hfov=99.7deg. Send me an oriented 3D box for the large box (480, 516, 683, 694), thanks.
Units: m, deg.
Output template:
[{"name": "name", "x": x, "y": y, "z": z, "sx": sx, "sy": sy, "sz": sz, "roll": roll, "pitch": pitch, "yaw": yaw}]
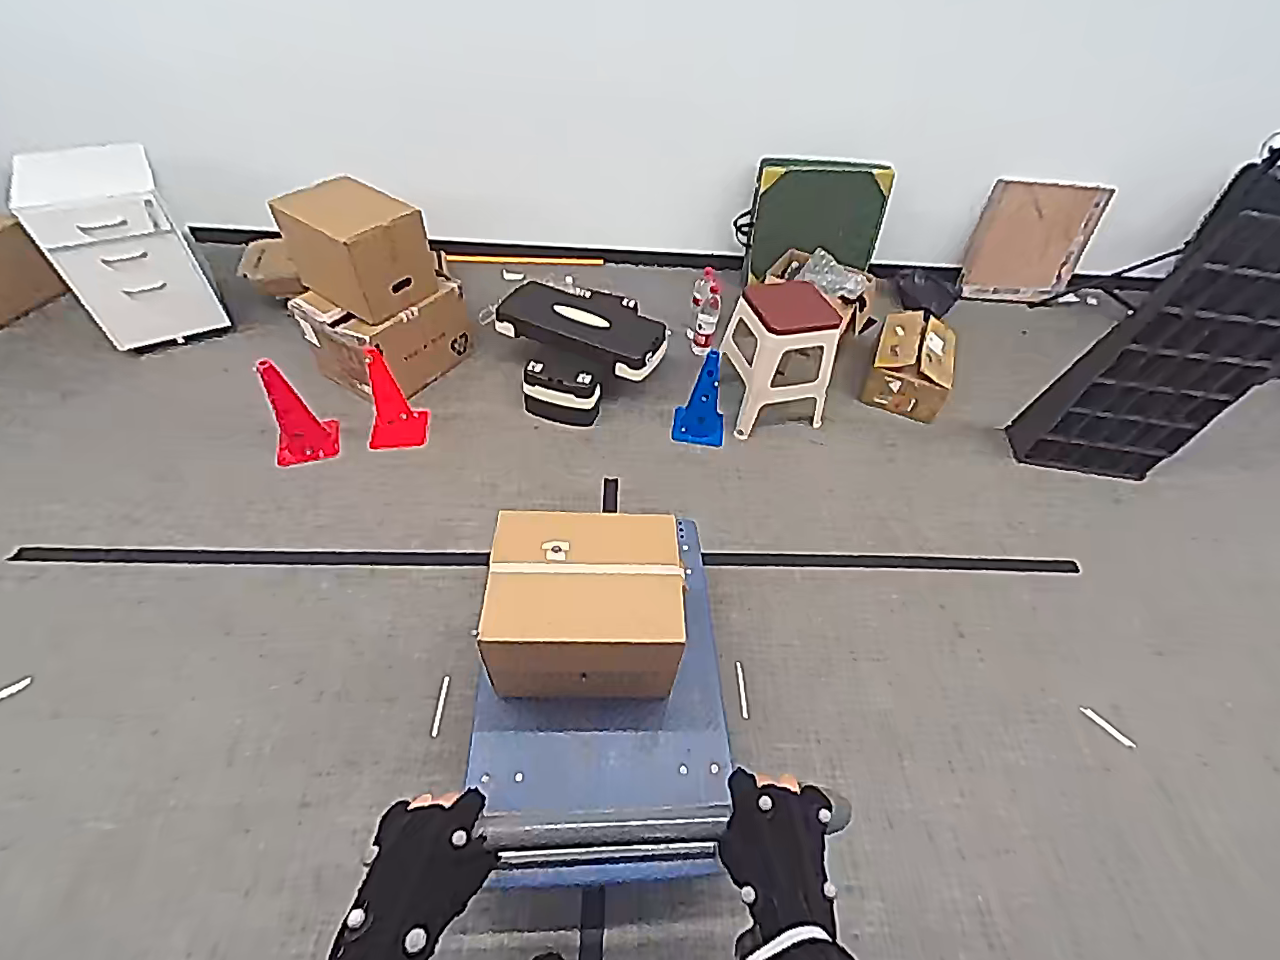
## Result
[{"name": "large box", "x": -0.123, "y": 0.298, "z": 1.265, "sx": 0.408, "sy": 0.320, "sz": 0.320, "roll": 2, "pitch": 49, "yaw": -3}]
